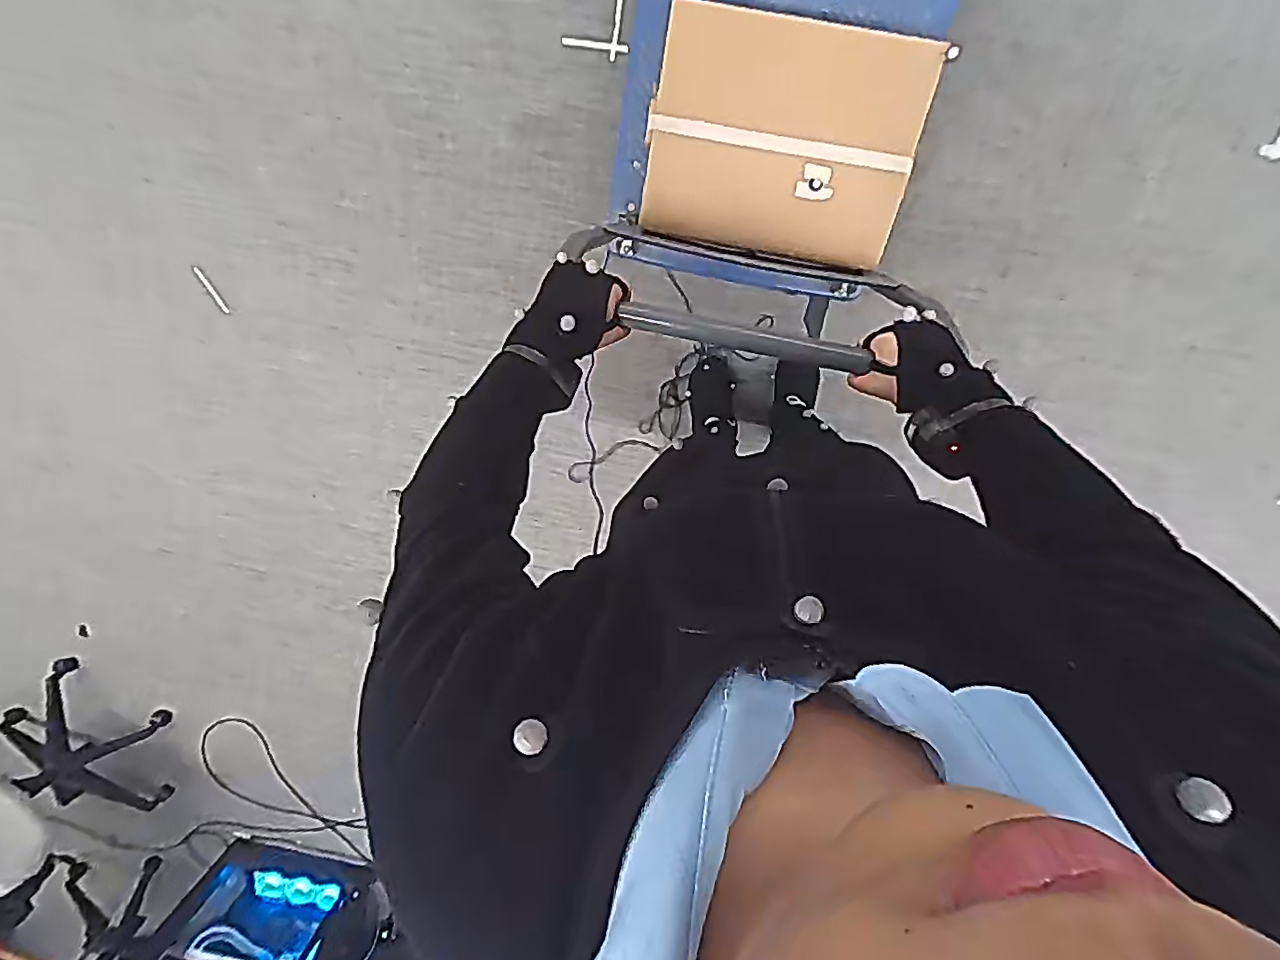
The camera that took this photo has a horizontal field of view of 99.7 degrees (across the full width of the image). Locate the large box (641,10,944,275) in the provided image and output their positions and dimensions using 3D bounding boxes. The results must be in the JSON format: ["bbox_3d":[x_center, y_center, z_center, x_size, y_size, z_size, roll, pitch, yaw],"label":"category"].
[{"bbox_3d":[0.230,-0.567,0.970,0.408,0.320,0.320,11,115,1],"label":"large box"}]
